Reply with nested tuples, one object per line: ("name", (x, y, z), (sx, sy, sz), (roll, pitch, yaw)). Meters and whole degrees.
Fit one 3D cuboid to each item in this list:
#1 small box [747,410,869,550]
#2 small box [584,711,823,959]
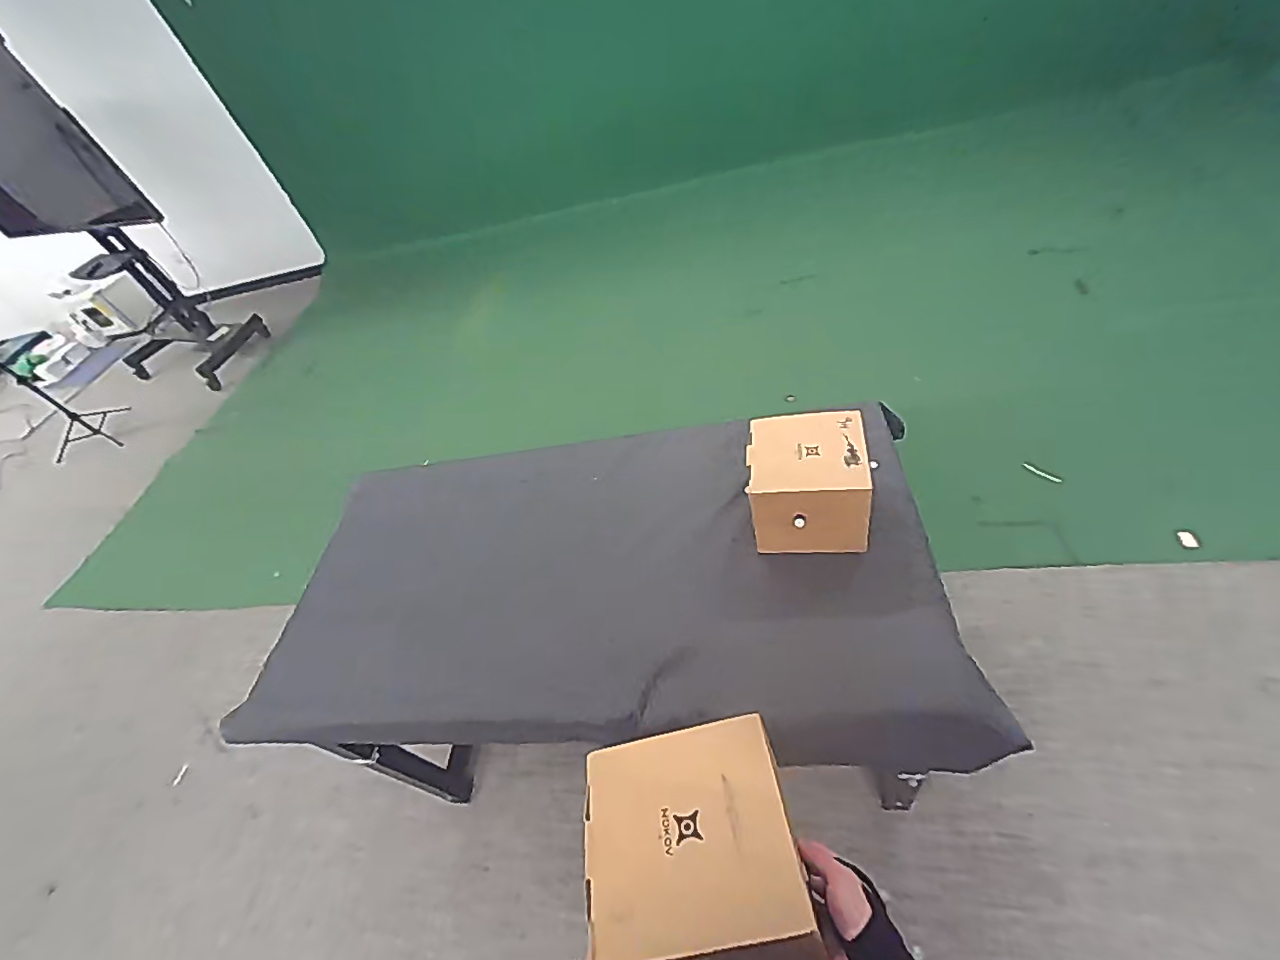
("small box", (0.278, 0.006, 0.899), (0.179, 0.176, 0.168), (-3, 50, 17))
("small box", (0.058, 0.352, 0.511), (0.179, 0.176, 0.168), (-16, 40, 6))
